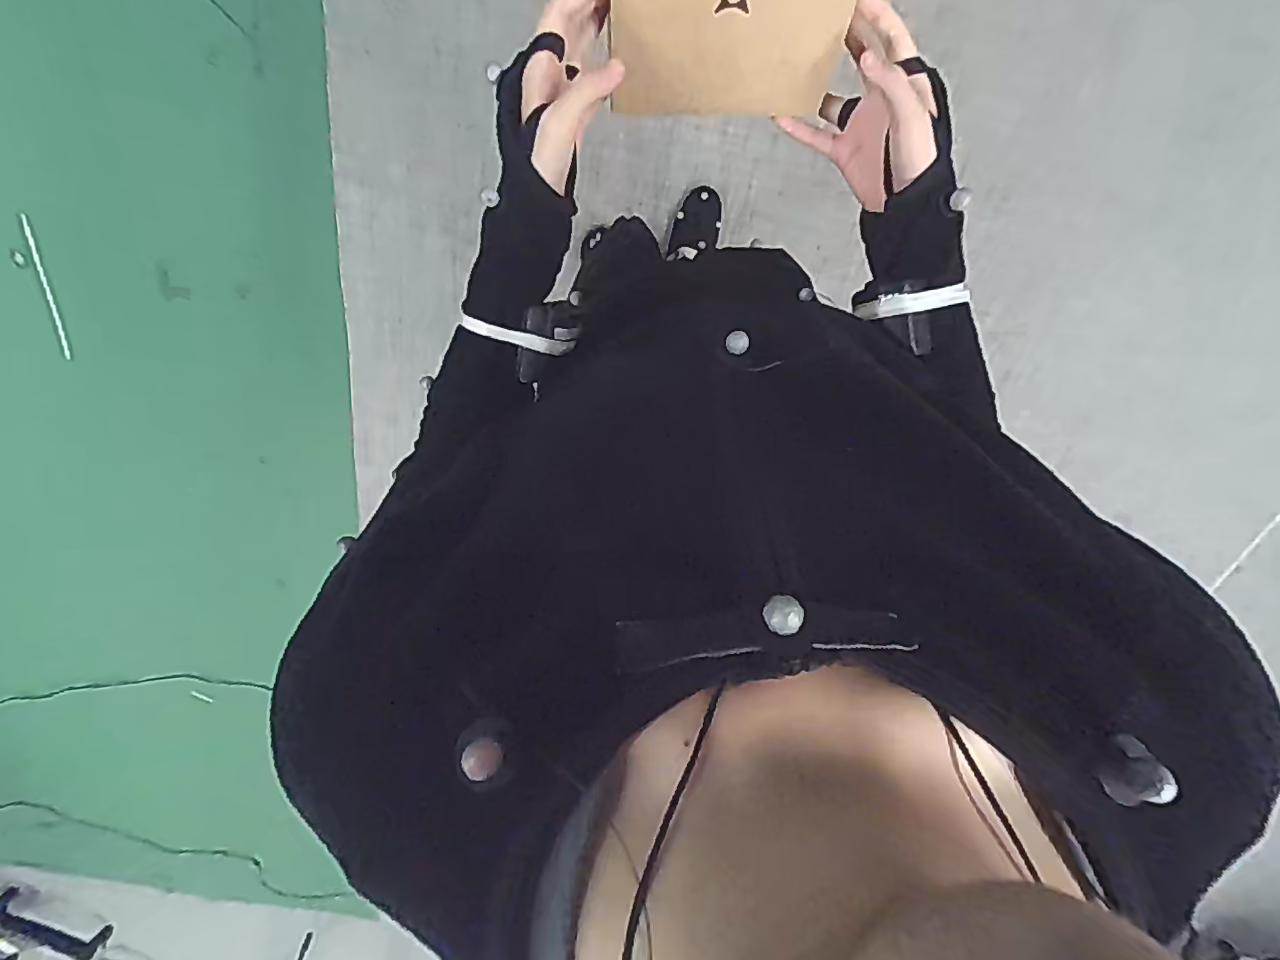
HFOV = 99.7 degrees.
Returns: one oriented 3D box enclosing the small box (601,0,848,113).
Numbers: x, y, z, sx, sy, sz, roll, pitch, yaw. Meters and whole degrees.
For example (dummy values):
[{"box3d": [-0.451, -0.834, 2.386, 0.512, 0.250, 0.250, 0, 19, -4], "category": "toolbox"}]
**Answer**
[{"box3d": [0.057, -0.397, 0.371, 0.168, 0.176, 0.179, 0, 160, -1], "category": "small box"}]
